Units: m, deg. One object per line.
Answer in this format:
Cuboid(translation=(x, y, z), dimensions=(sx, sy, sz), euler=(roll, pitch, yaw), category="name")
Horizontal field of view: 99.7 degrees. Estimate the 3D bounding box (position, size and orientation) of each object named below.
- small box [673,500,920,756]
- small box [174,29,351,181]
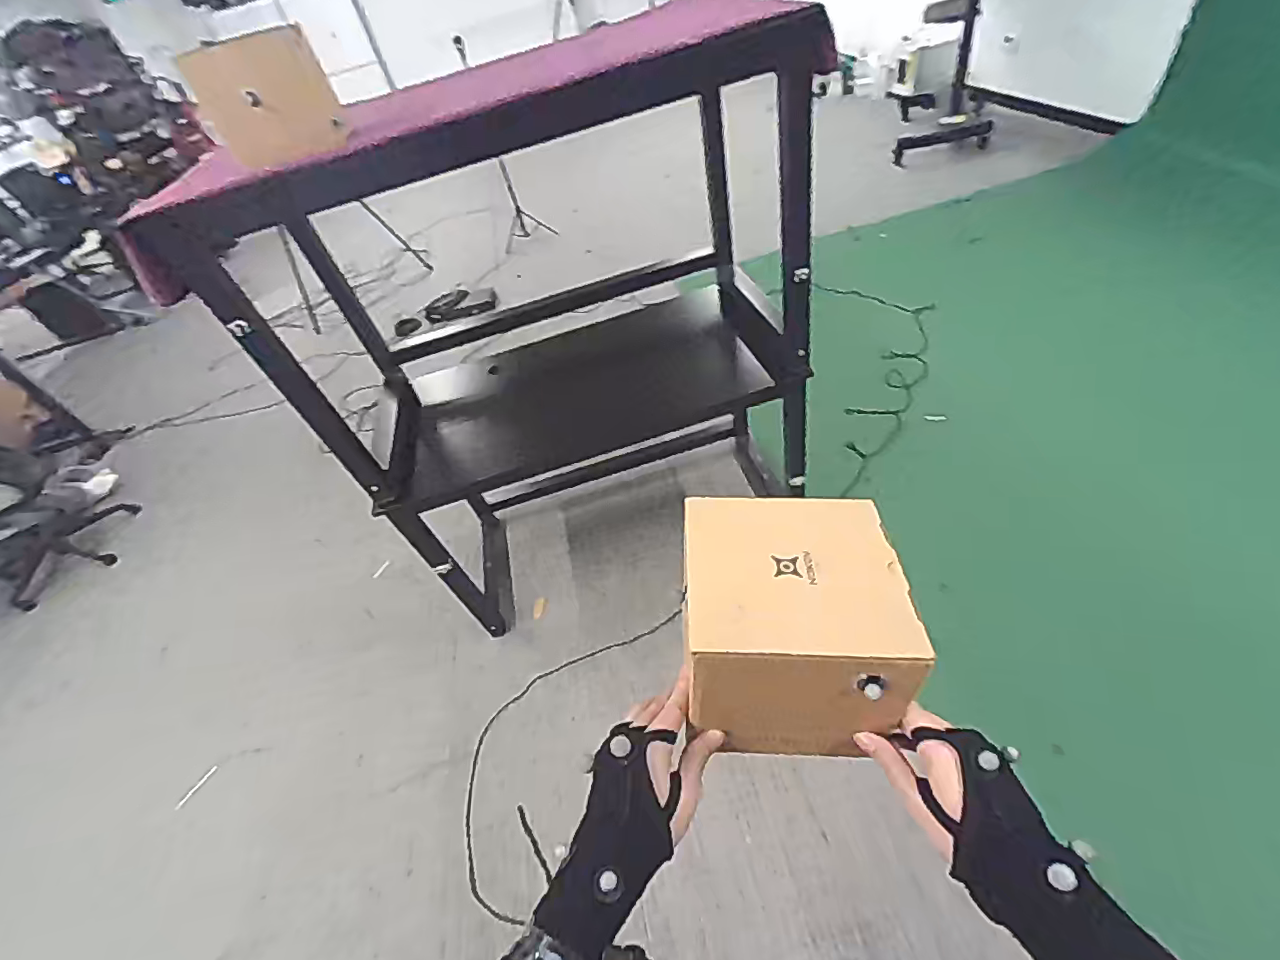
Cuboid(translation=(0.119, 0.135, 0.497), dimensions=(0.179, 0.176, 0.168), euler=(0, 41, 2), category="small box")
Cuboid(translation=(-0.640, -0.654, 0.946), dimensions=(0.179, 0.176, 0.168), euler=(-20, 44, -2), category="small box")
